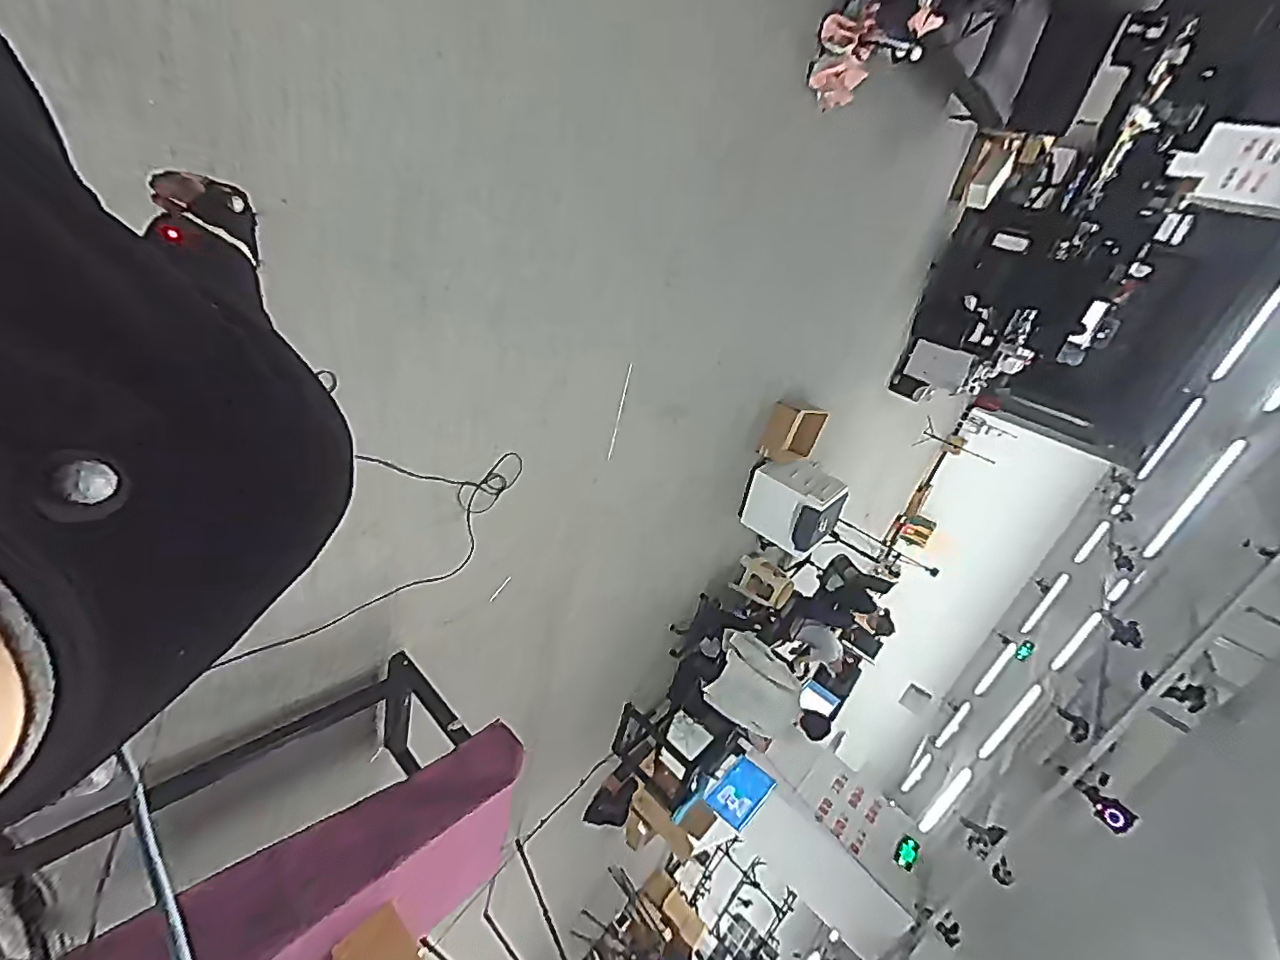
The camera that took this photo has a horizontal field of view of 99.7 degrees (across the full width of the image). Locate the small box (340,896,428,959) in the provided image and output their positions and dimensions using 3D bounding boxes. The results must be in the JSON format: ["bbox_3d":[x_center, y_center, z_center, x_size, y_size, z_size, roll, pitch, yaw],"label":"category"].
[{"bbox_3d":[-0.734,1.358,1.554,0.179,0.176,0.168,-20,134,-44],"label":"small box"}]
